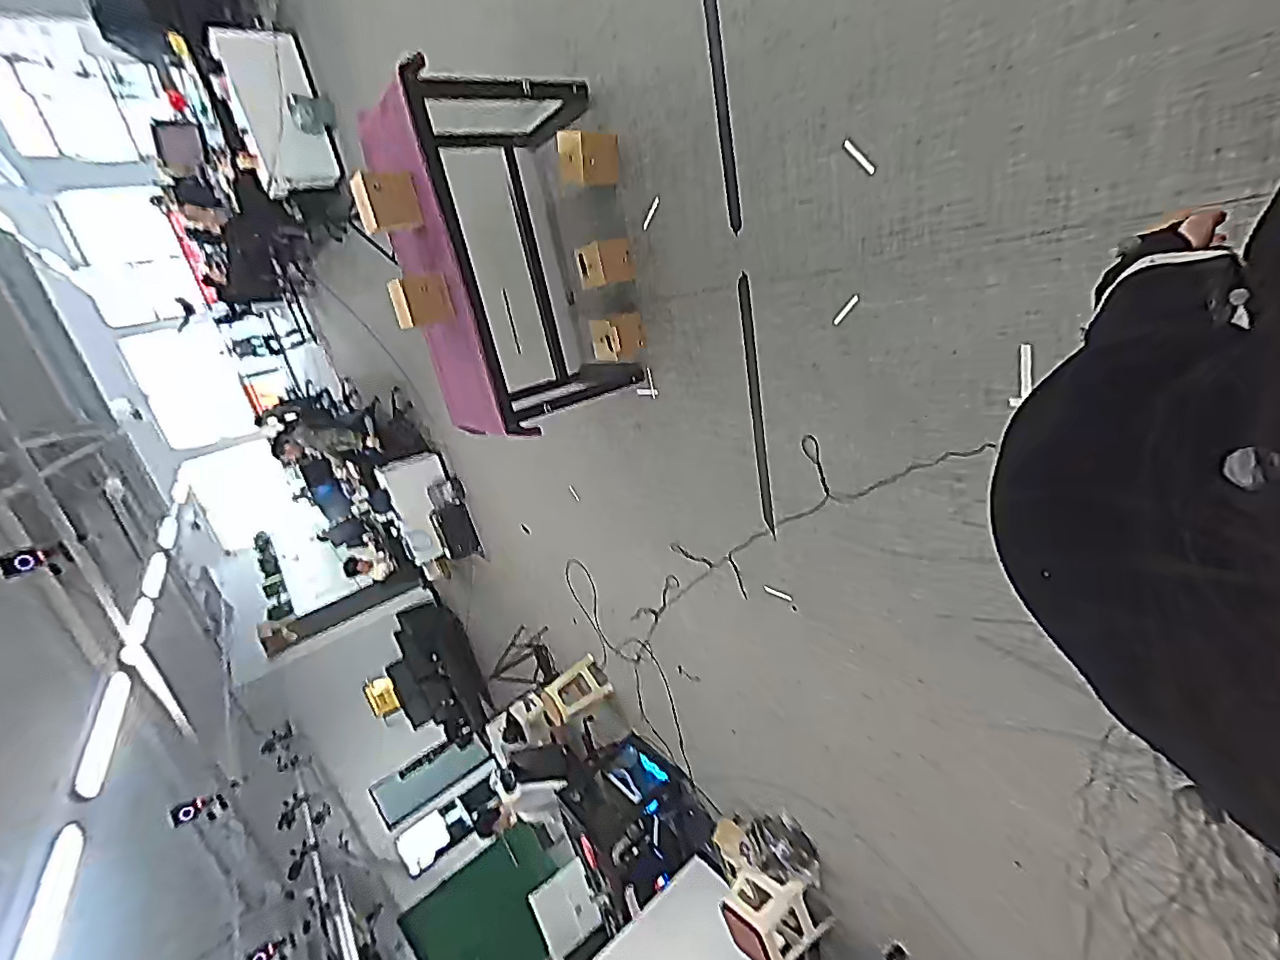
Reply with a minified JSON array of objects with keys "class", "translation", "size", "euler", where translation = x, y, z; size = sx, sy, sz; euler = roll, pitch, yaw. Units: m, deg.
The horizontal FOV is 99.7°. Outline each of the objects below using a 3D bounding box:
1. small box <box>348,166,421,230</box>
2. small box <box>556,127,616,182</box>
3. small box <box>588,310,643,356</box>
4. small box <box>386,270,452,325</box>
[{"class":"small box","translation":[-0.910,-1.007,1.929],"size":[0.168,0.176,0.179],"euler":[18,126,50]},{"class":"small box","translation":[-0.206,-1.275,2.110],"size":[0.168,0.176,0.179],"euler":[32,137,39]},{"class":"small box","translation":[-0.101,-0.648,2.382],"size":[0.179,0.176,0.168],"euler":[17,125,51]},{"class":"small box","translation":[-0.824,-0.684,2.029],"size":[0.179,0.176,0.168],"euler":[18,124,52]}]
